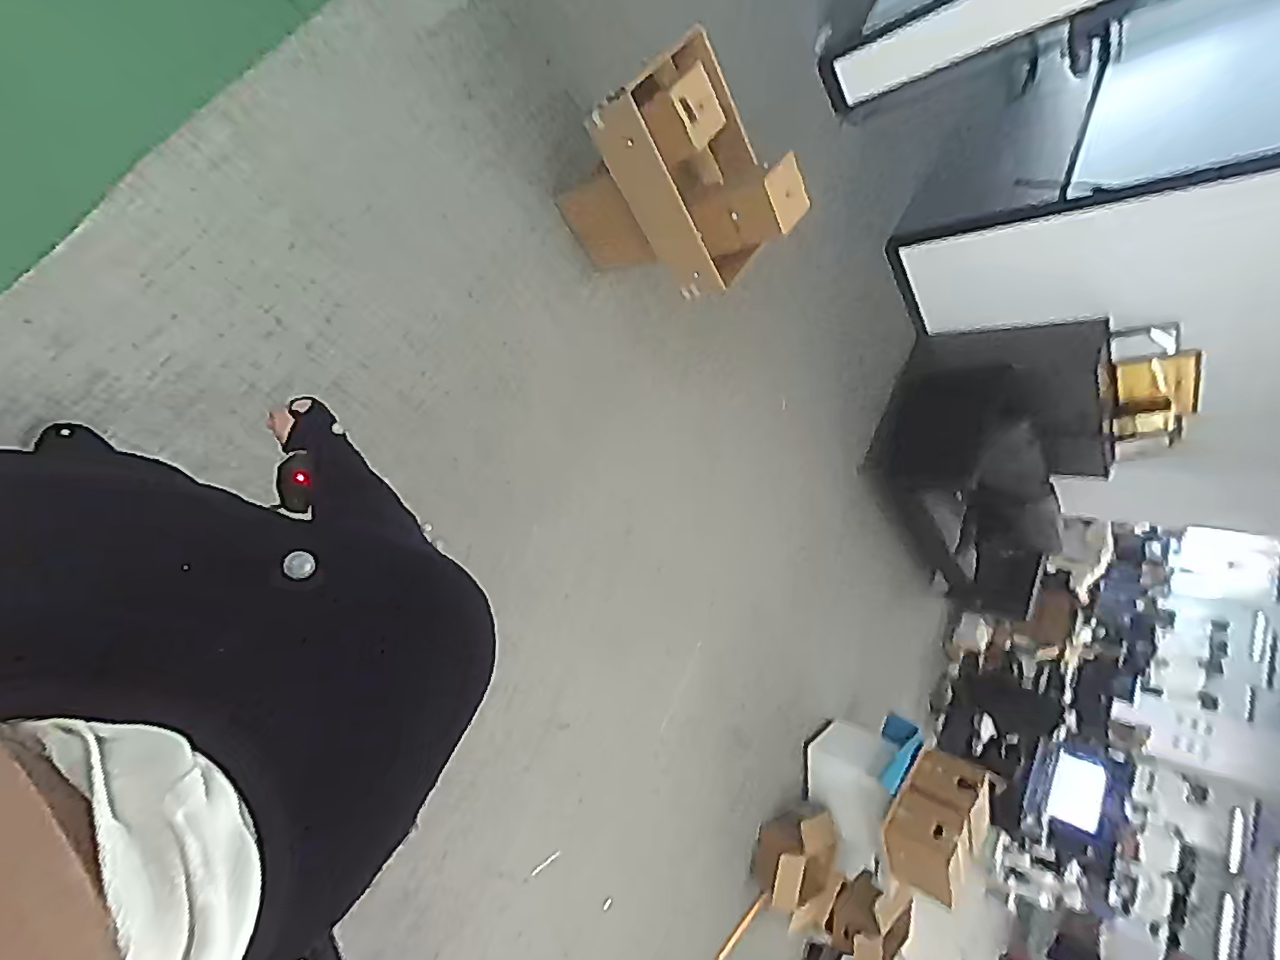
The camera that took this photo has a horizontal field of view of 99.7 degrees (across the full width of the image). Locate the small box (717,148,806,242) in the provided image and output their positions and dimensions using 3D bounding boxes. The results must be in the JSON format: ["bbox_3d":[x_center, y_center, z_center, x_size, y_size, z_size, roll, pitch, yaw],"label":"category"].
[{"bbox_3d":[0.356,-0.835,1.594,0.179,0.176,0.168,-52,127,-24],"label":"small box"}]

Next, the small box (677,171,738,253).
[{"bbox_3d":[0.249,-0.850,1.716,0.179,0.176,0.168,-52,127,-25],"label":"small box"}]
